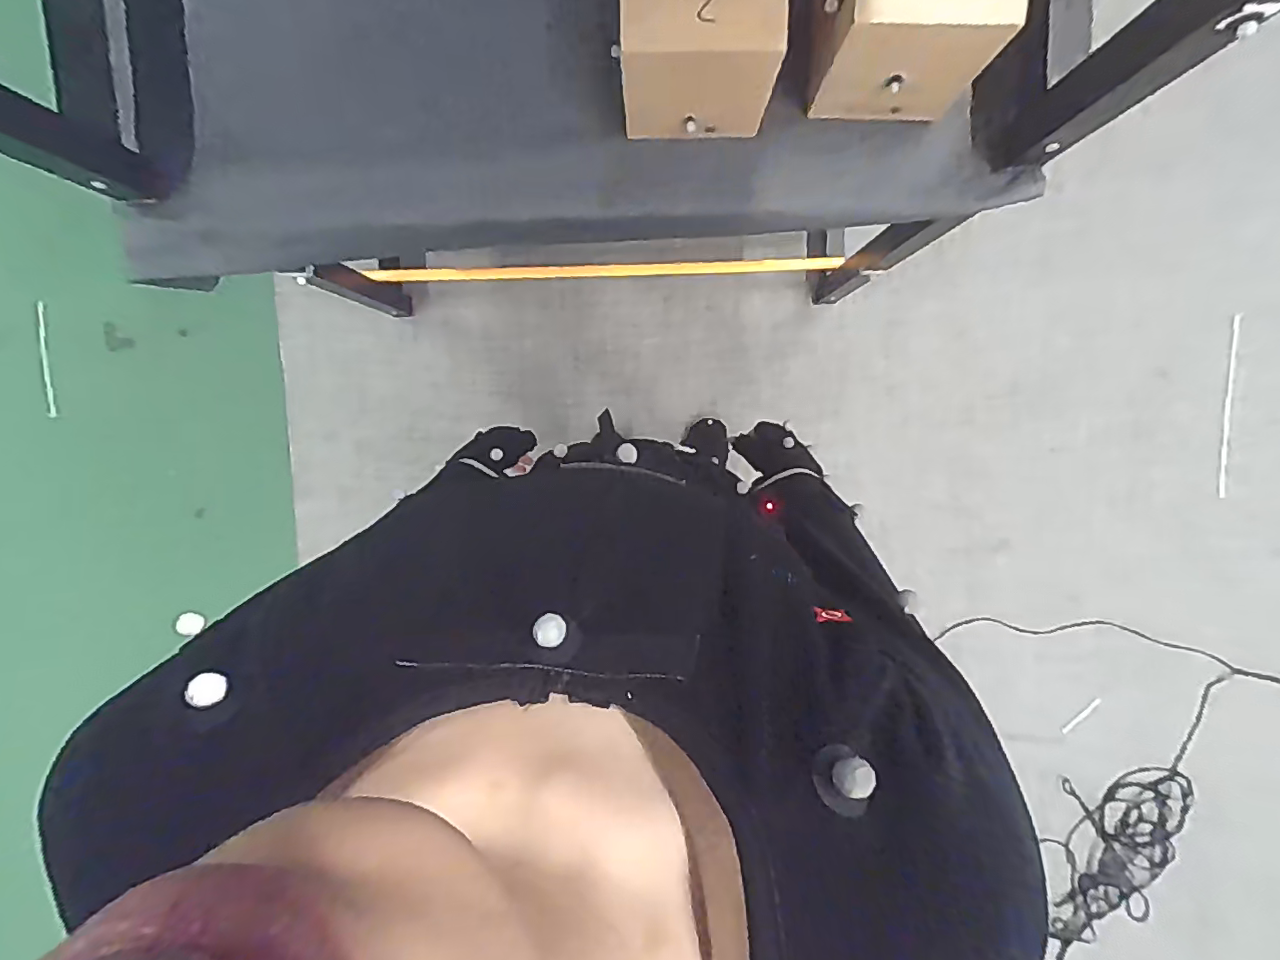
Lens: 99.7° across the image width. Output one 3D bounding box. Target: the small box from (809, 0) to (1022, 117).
[{"bbox_3d":[0.293,-0.535,0.596,0.168,0.176,0.179,2,96,1],"label":"small box"}]
